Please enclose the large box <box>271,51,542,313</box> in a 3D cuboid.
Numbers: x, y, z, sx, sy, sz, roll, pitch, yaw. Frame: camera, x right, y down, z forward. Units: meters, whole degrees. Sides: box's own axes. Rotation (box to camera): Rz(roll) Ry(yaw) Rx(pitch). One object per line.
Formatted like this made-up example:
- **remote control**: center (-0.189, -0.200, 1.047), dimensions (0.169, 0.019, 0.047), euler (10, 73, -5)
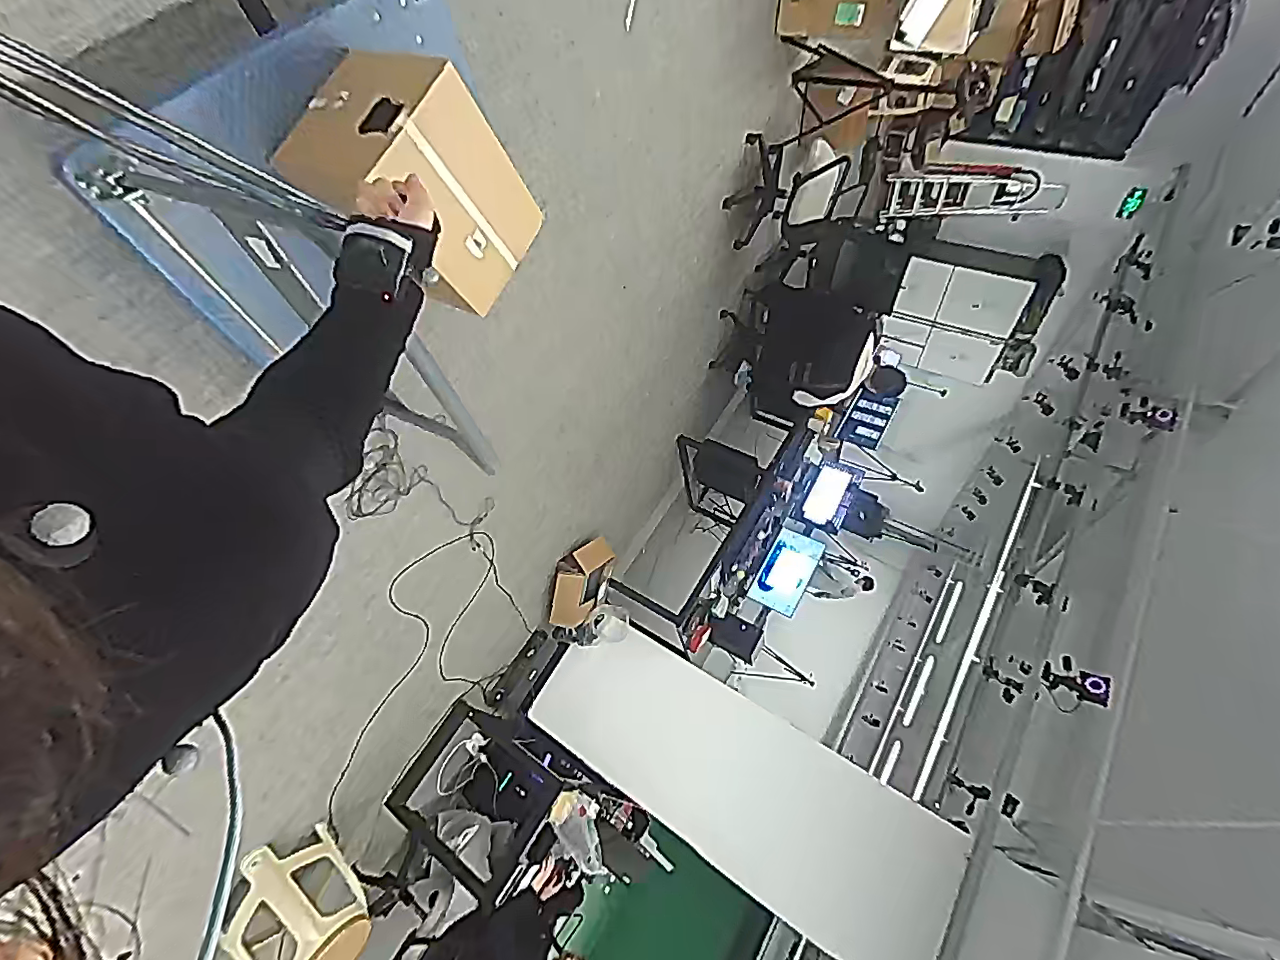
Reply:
- **large box**: center (-0.500, -0.655, 1.227), dimensions (0.320, 0.320, 0.408), euler (-61, 156, -8)
